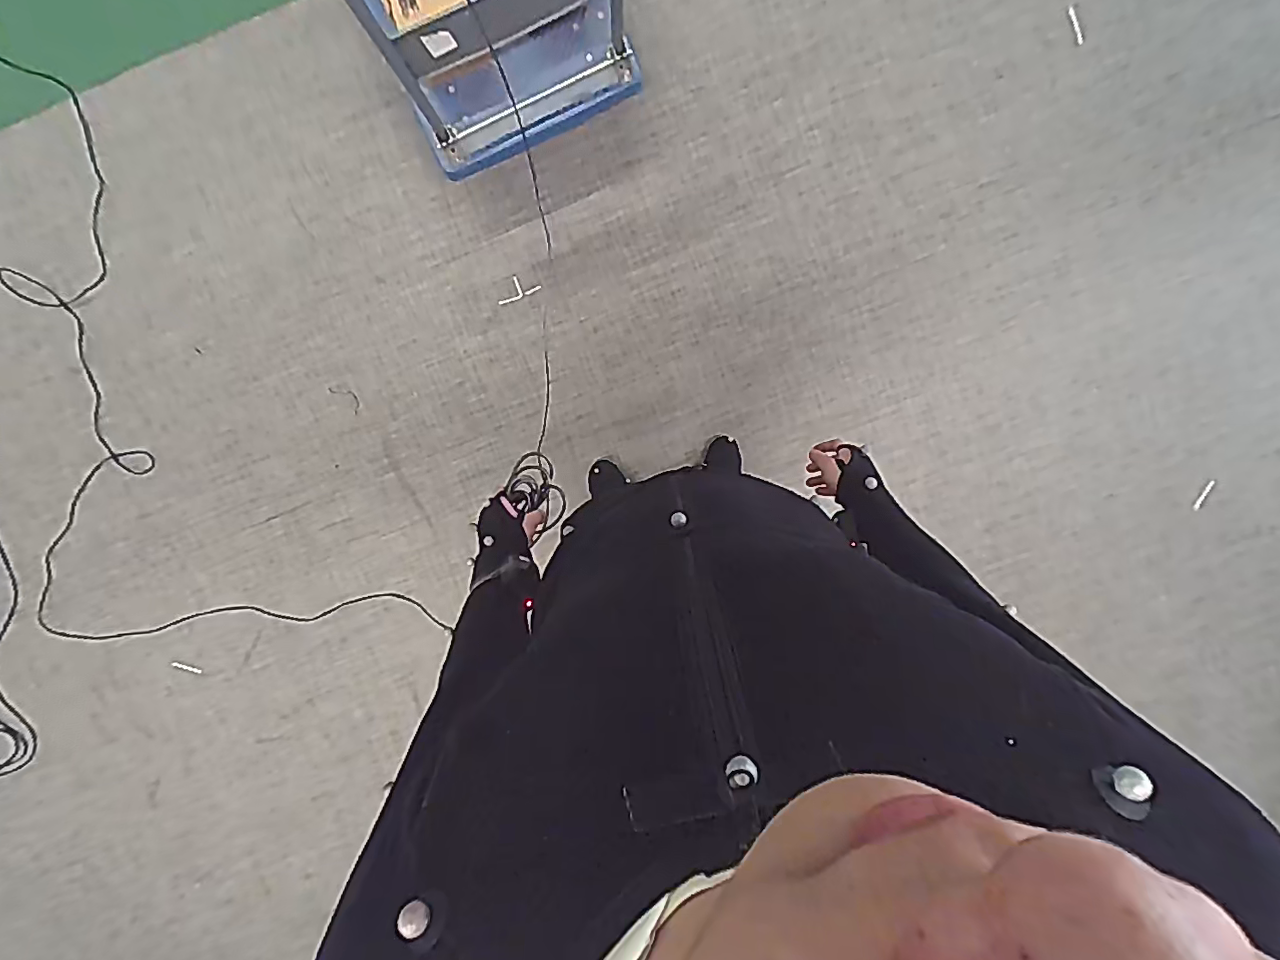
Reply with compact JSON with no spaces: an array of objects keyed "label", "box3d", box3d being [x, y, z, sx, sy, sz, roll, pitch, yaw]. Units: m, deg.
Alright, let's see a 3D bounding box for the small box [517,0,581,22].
[{"label":"small box","box3d":[-0.242,-1.244,1.265,0.168,0.176,0.179,-23,96,2]}]
